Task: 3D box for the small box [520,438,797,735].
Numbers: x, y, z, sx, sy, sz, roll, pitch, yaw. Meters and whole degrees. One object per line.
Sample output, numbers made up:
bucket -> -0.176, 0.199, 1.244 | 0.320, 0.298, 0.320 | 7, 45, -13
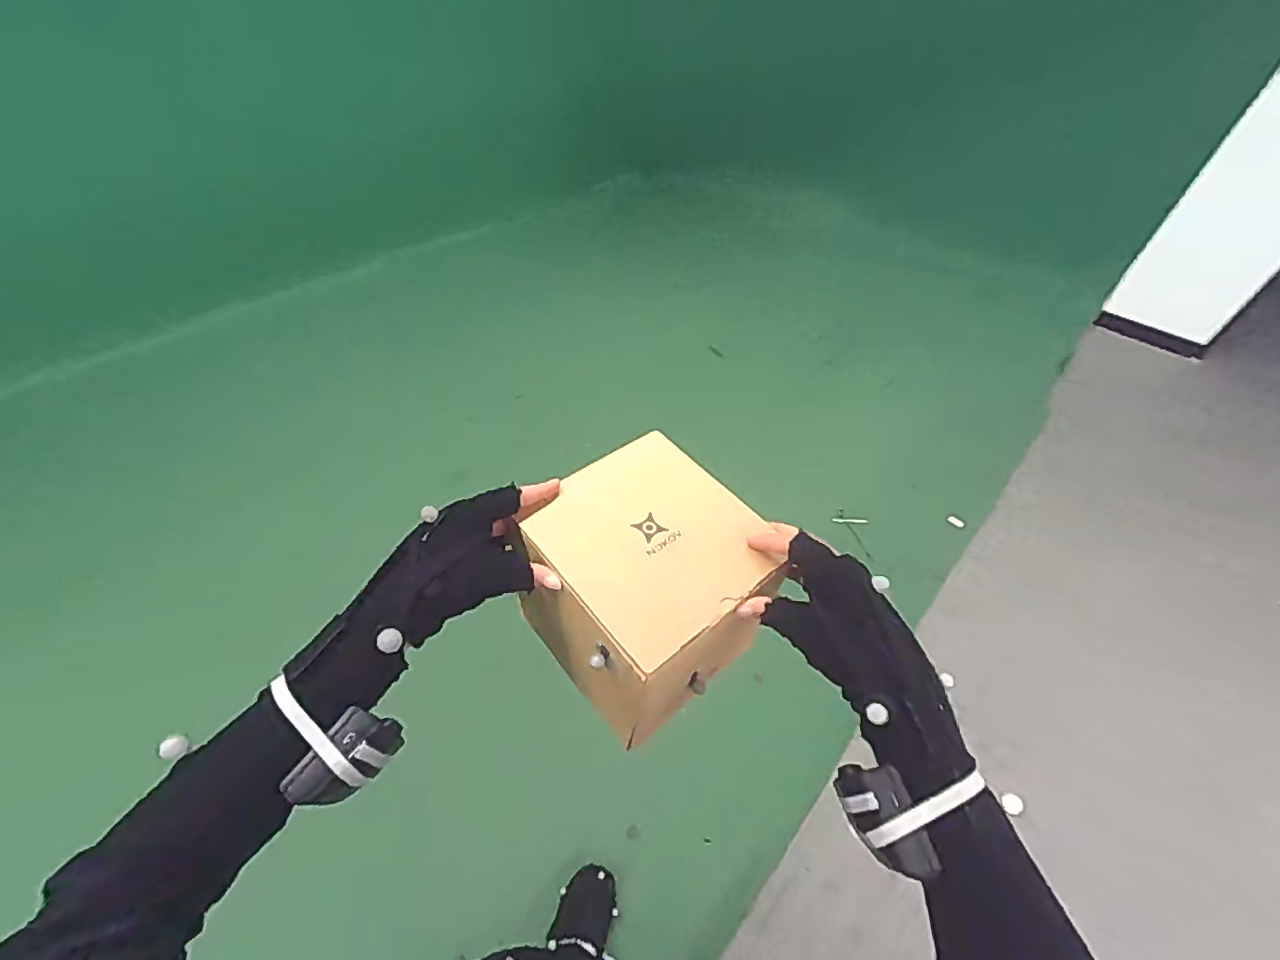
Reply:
small box -> 0.005, 0.098, 0.503 | 0.168, 0.176, 0.179 | -30, 59, -29
